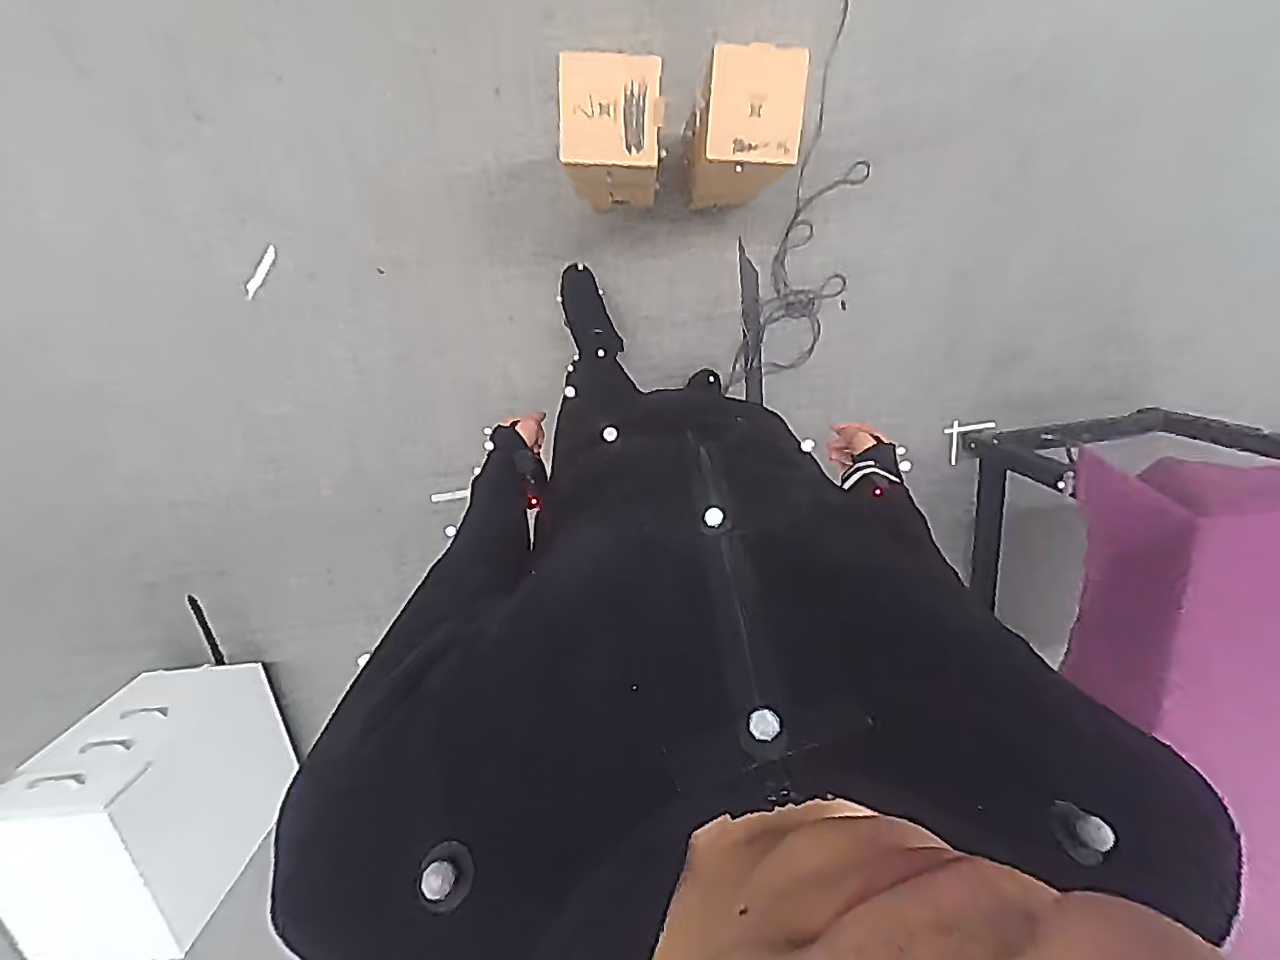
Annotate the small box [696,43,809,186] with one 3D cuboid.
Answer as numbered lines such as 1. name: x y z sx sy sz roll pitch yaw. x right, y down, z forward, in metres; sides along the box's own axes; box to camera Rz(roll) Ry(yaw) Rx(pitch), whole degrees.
1. small box: 0.199 -0.672 1.012 0.168 0.176 0.179 3 107 -2

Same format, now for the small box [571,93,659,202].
1. small box: -0.054 -0.705 1.164 0.179 0.176 0.168 2 108 -1

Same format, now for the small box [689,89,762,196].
1. small box: 0.198 -0.725 1.167 0.179 0.176 0.168 -4 108 1

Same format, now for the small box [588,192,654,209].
1. small box: -0.052 -0.770 1.315 0.168 0.176 0.179 -1 108 0

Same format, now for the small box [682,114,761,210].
1. small box: 0.195 -0.775 1.321 0.168 0.176 0.179 -6 108 1
